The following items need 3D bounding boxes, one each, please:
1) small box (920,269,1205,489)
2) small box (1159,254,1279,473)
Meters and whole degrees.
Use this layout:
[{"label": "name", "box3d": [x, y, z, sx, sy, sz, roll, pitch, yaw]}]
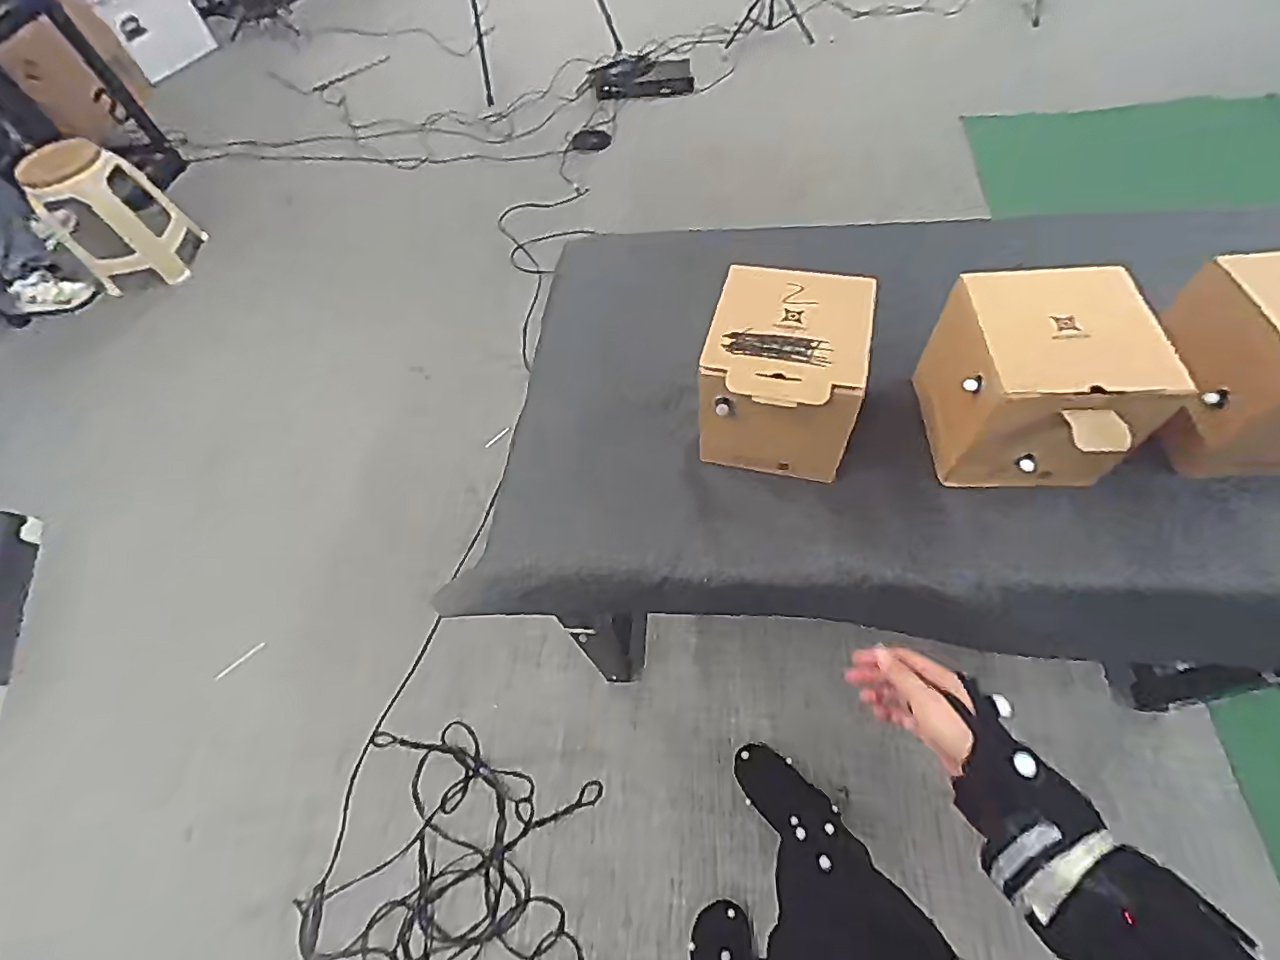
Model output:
[{"label": "small box", "box3d": [0.435, -0.108, 0.600, 0.168, 0.176, 0.179, 0, 59, 6]}, {"label": "small box", "box3d": [0.685, -0.117, 0.575, 0.168, 0.176, 0.179, -2, 57, 4]}]
